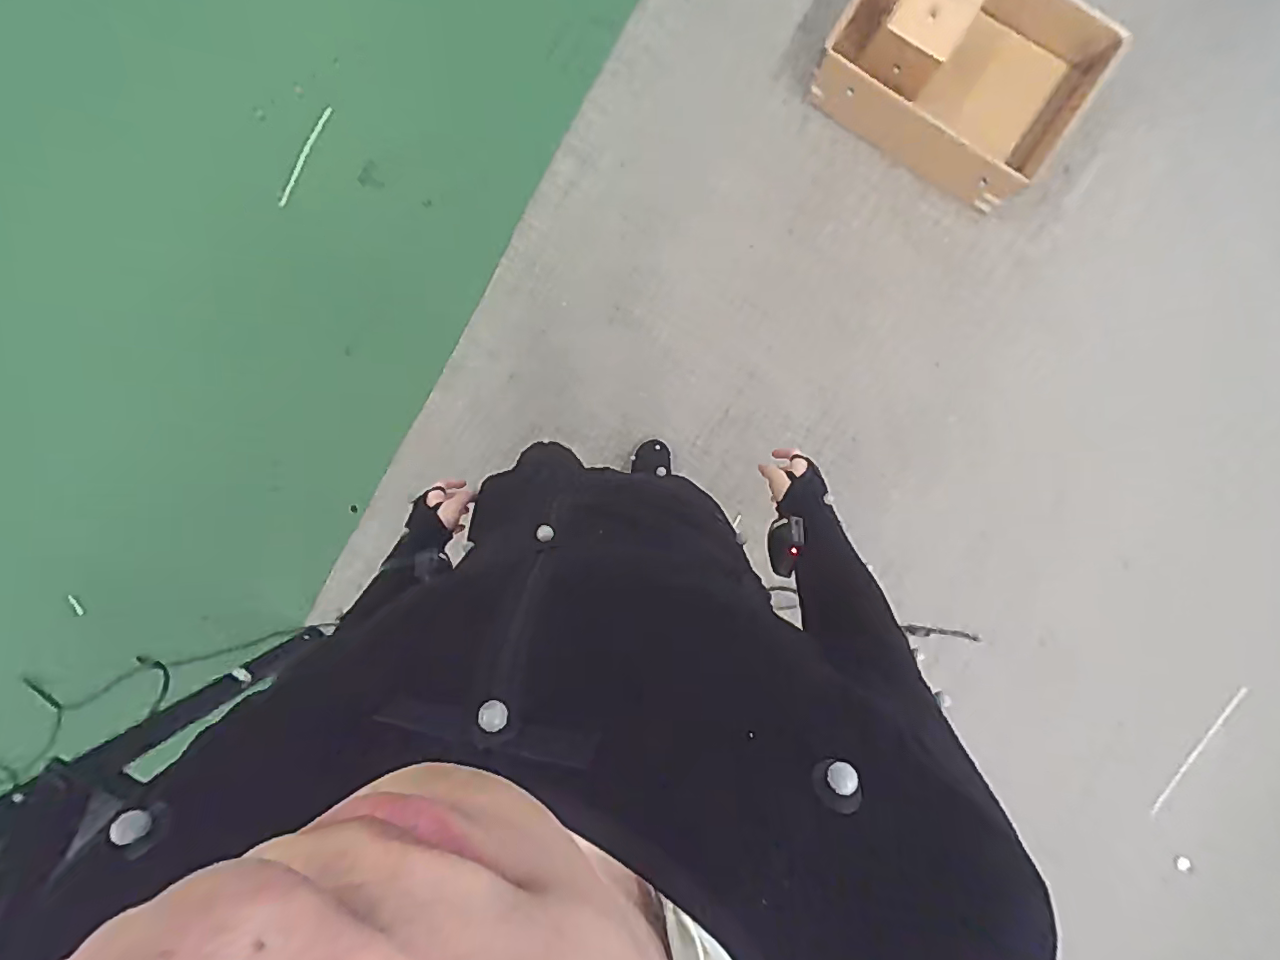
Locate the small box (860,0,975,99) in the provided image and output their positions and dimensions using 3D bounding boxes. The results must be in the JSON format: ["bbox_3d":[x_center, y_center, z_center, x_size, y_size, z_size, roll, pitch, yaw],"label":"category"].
[{"bbox_3d":[0.677,-1.107,1.346,0.168,0.176,0.179,31,96,-2],"label":"small box"}]
